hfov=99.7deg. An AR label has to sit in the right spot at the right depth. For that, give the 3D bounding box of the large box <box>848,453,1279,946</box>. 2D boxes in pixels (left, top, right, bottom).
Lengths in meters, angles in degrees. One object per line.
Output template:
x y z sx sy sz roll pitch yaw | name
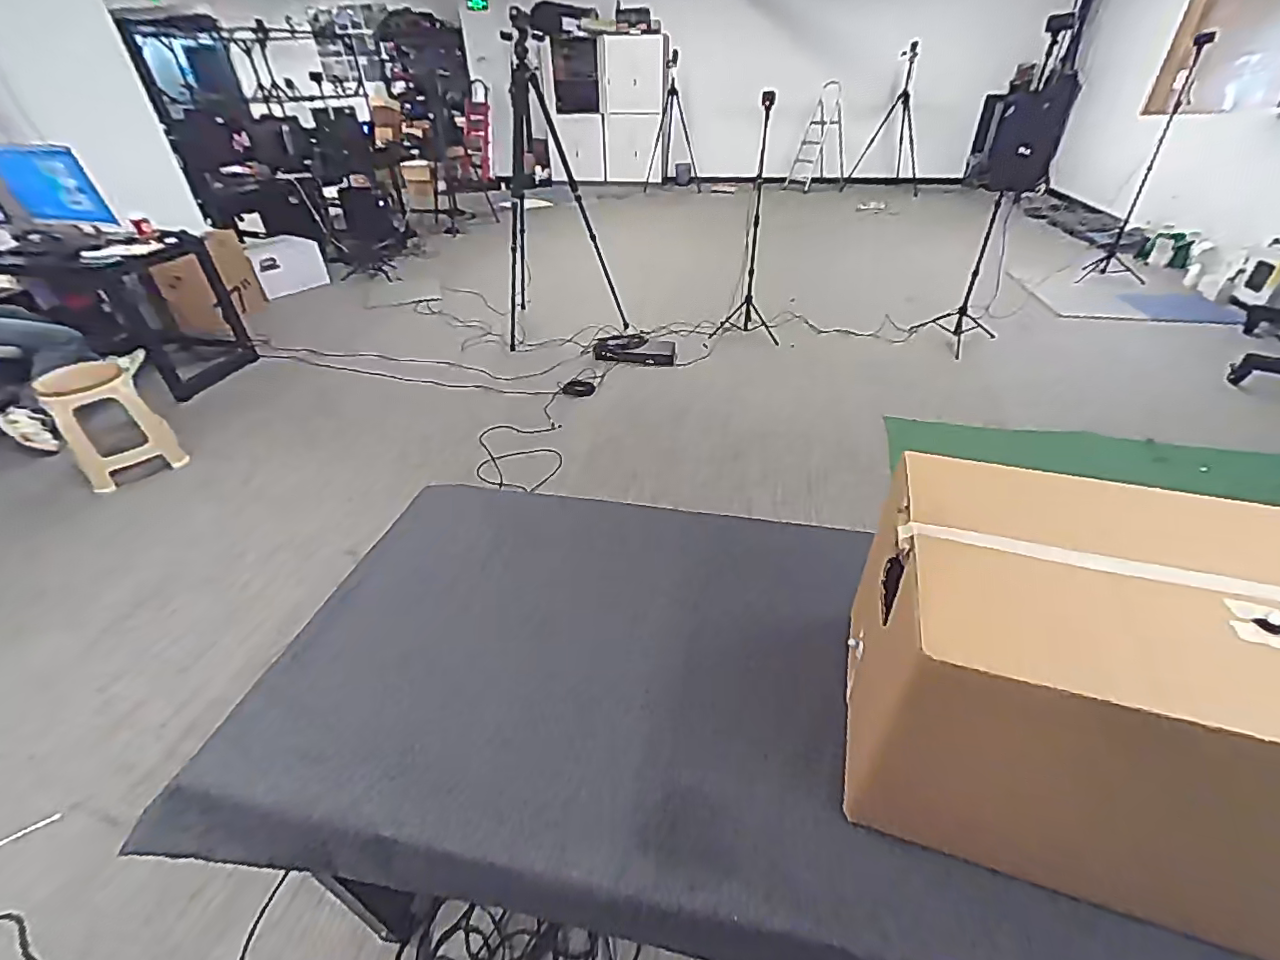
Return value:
0.466 0.206 0.588 0.408 0.320 0.320 11 39 15 | large box
